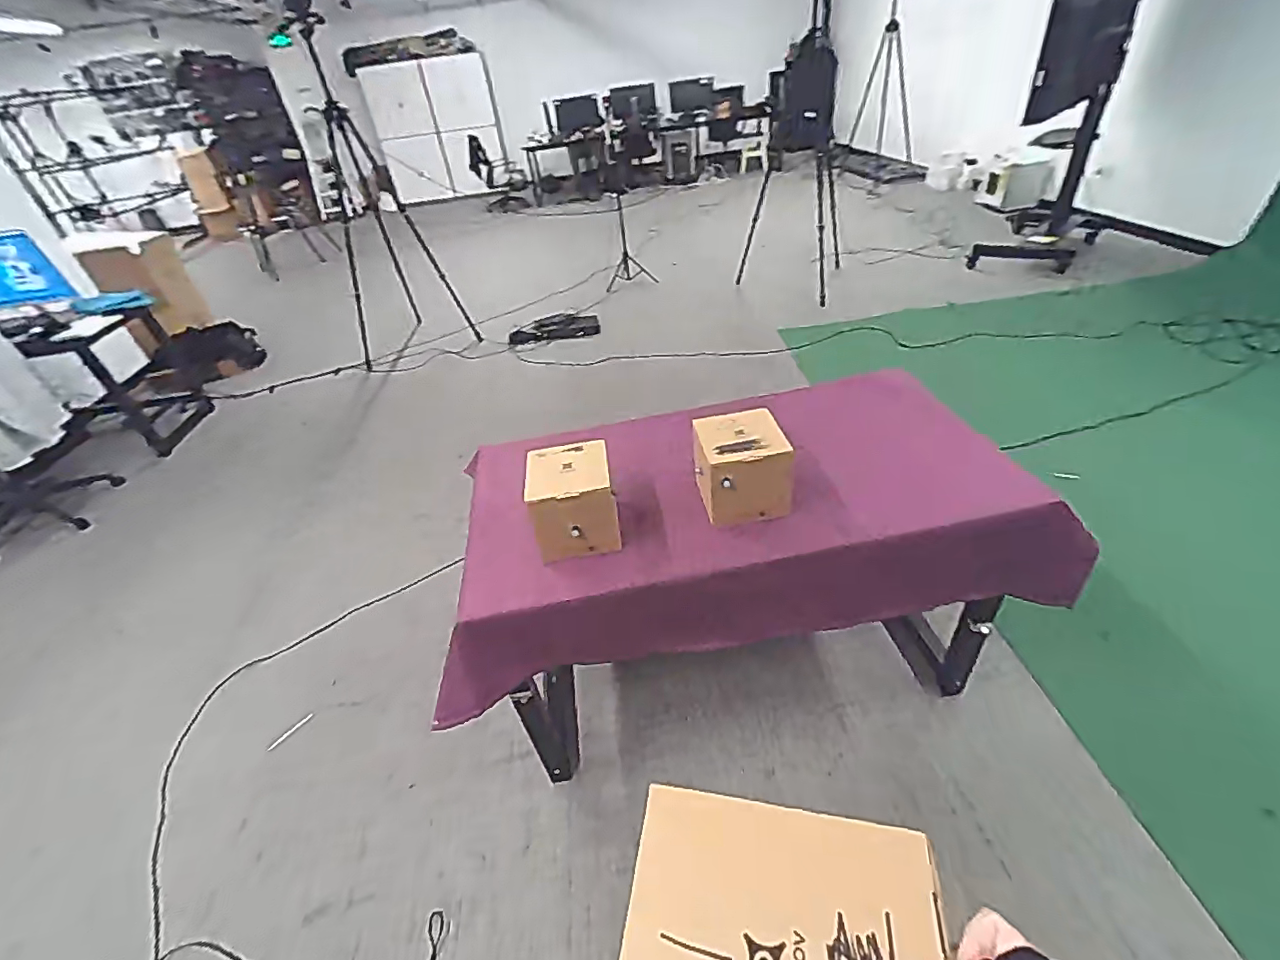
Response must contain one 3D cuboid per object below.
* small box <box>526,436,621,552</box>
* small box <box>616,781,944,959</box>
[{"bbox_3d":[-0.133,0.034,1.121,0.168,0.176,0.179,-8,39,-2],"label":"small box"},{"bbox_3d":[0.081,0.325,0.344,0.179,0.176,0.168,4,40,13],"label":"small box"}]
